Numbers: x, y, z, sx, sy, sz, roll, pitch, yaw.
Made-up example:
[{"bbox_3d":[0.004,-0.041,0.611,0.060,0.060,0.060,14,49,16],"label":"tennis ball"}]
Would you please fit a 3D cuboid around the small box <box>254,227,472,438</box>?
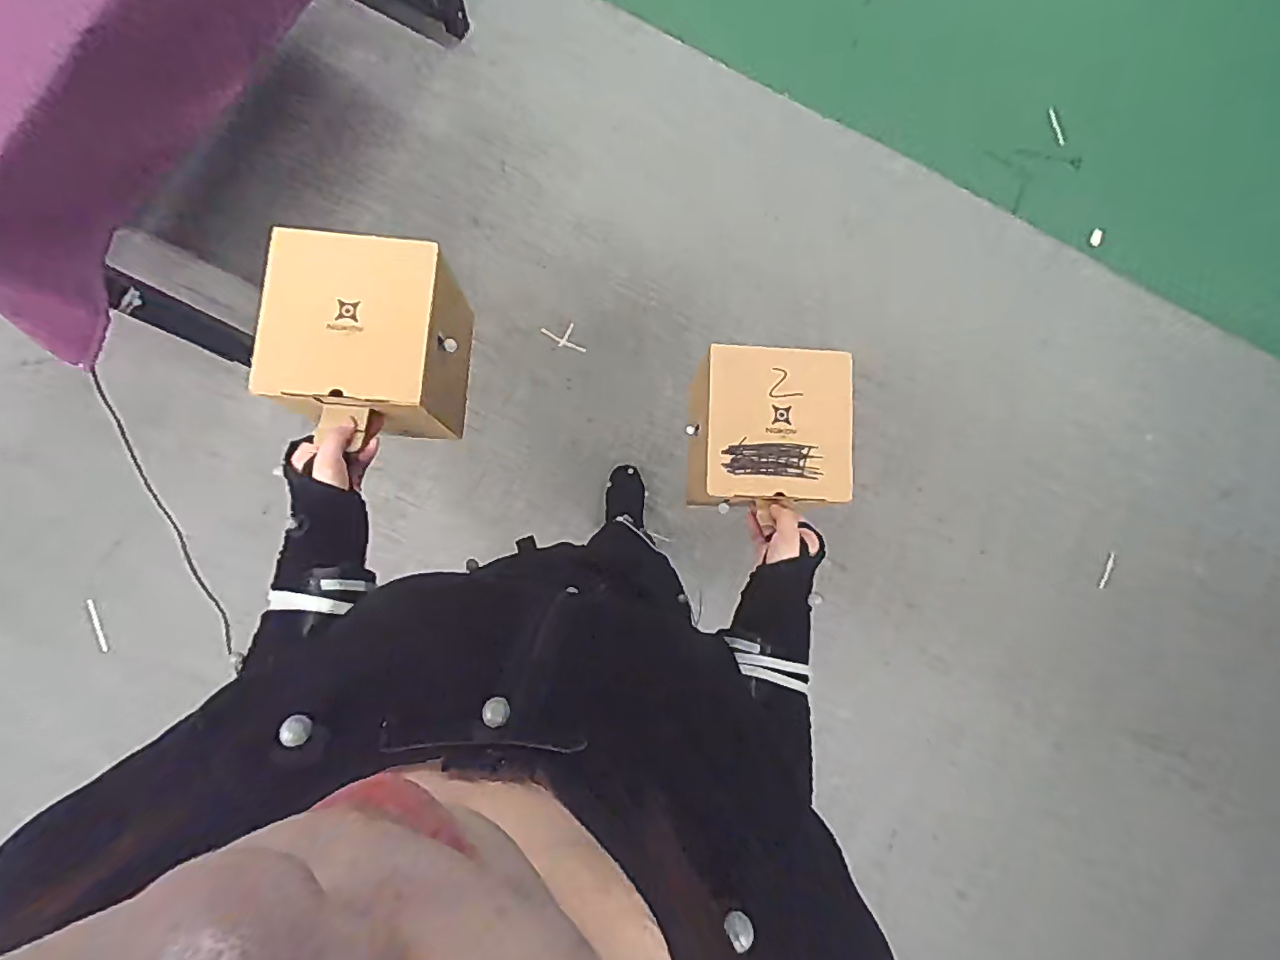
[{"bbox_3d":[-0.296,-0.155,0.620,0.168,0.176,0.179,4,83,-5],"label":"small box"}]
